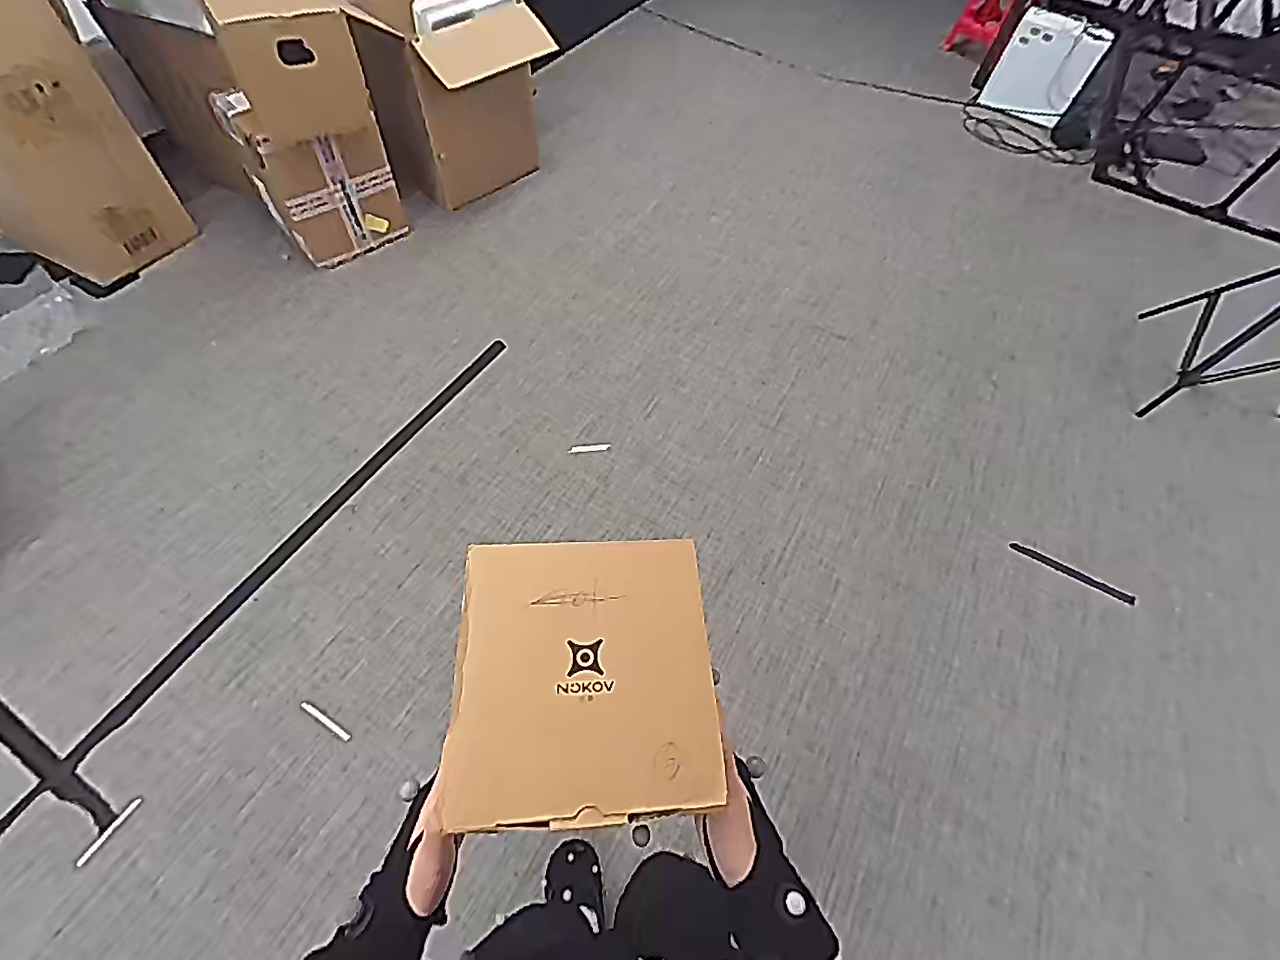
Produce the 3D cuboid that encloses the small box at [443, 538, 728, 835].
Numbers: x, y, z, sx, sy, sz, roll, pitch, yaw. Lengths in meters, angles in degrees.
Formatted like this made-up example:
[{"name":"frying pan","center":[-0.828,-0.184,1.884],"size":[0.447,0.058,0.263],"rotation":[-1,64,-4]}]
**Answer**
[{"name":"small box","center":[-0.041,0.161,0.416],"size":[0.168,0.176,0.179],"rotation":[-1,57,-7]}]
